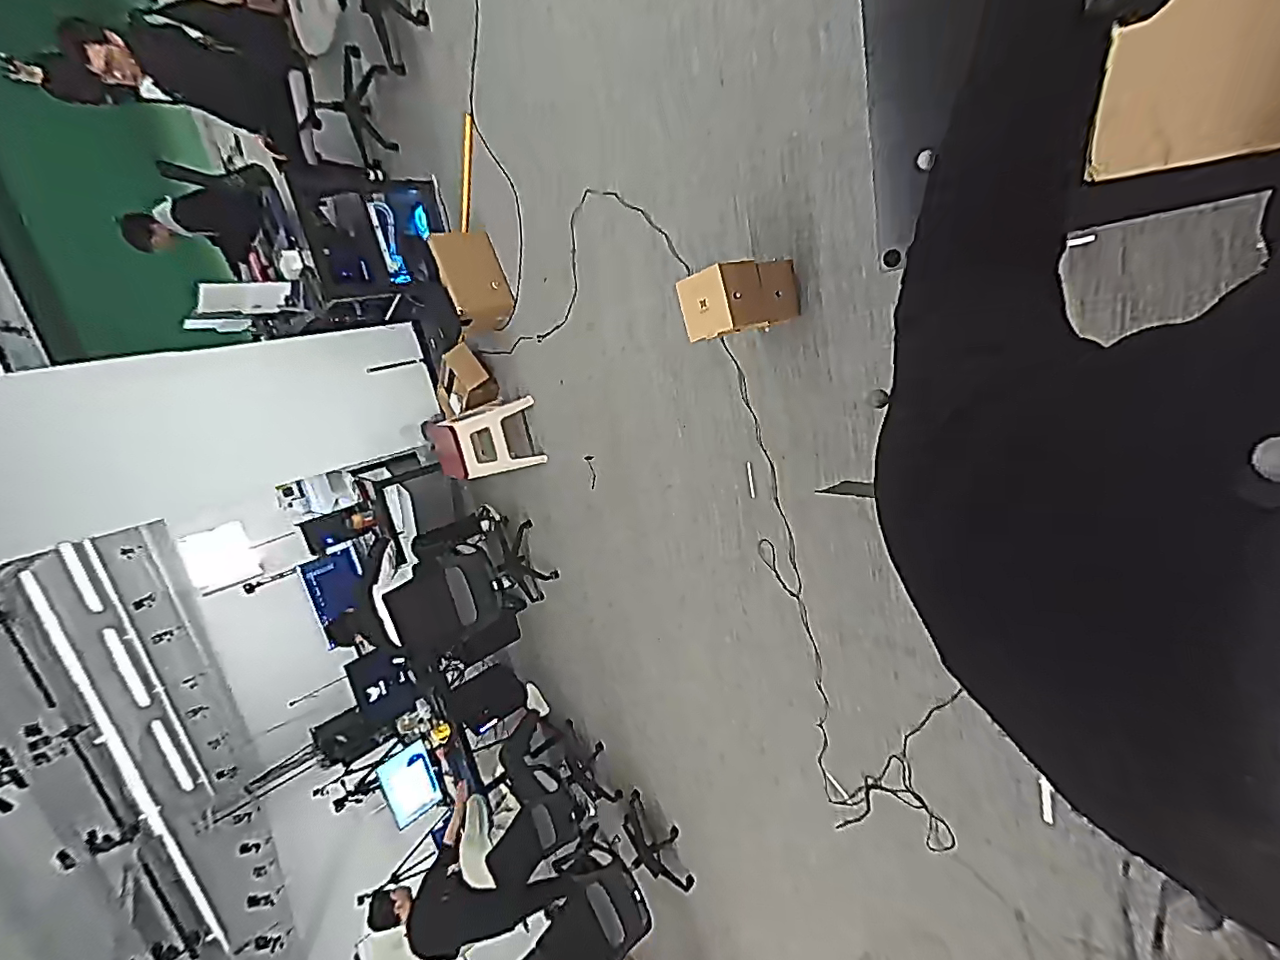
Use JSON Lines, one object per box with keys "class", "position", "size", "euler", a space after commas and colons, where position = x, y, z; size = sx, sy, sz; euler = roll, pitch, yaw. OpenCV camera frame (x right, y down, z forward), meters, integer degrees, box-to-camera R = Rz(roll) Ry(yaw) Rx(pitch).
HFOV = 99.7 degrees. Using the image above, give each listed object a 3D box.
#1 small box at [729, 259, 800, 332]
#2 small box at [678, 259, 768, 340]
{"class": "small box", "position": [0.360, -0.558, 1.631], "size": [0.168, 0.176, 0.179], "euler": [1, 110, 50]}
{"class": "small box", "position": [0.239, -0.512, 1.532], "size": [0.168, 0.176, 0.179], "euler": [-4, 104, 50]}
